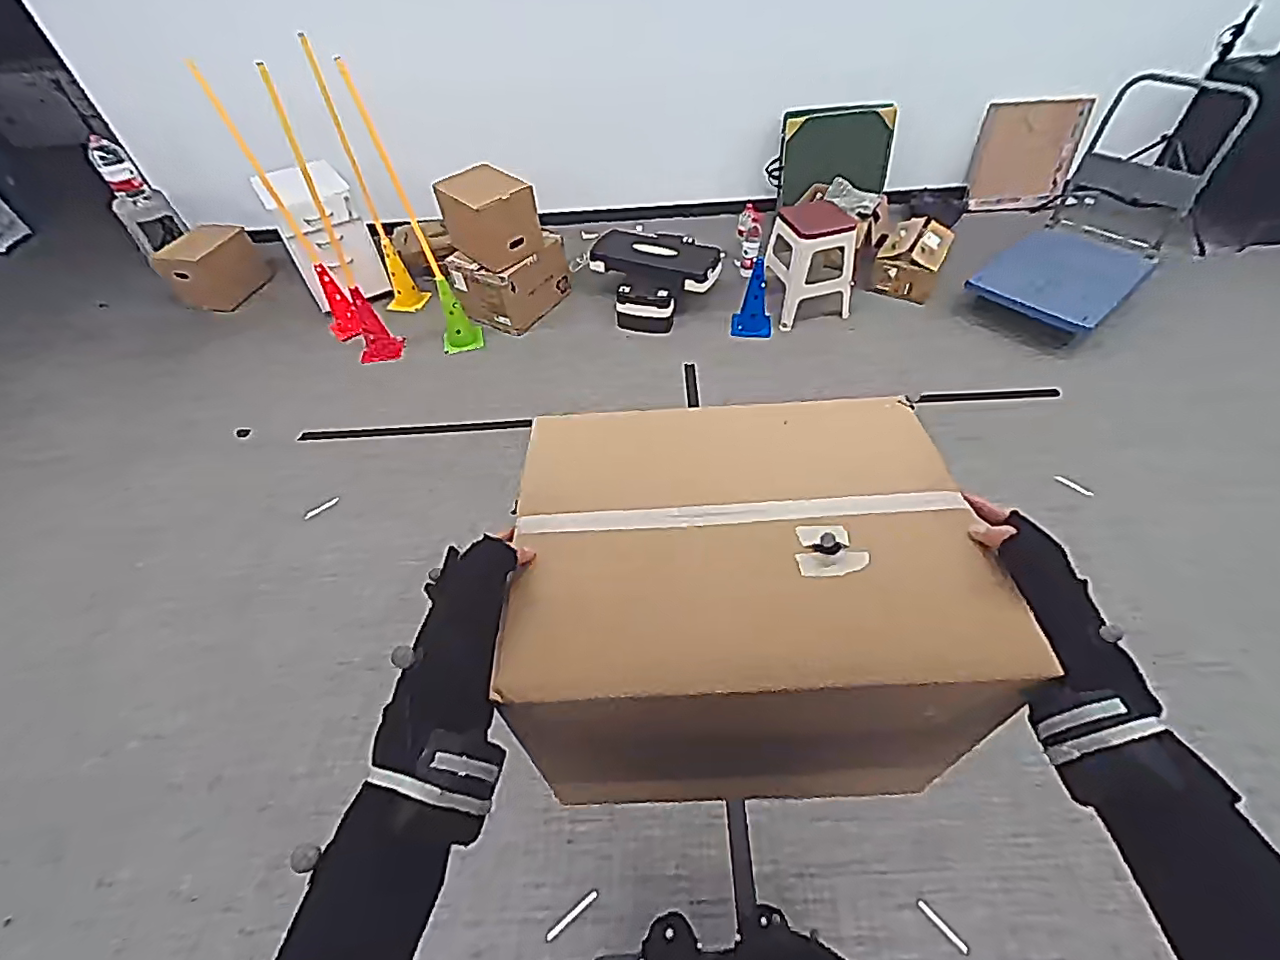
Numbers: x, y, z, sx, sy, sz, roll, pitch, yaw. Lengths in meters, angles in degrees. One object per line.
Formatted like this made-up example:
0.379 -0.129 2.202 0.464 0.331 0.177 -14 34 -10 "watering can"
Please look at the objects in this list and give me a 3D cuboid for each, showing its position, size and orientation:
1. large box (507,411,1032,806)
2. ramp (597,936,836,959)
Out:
0.097 0.147 0.610 0.408 0.320 0.320 -3 47 1 "large box"
0.176 1.384 0.870 0.509 0.206 0.991 -4 50 -1 "ramp"
